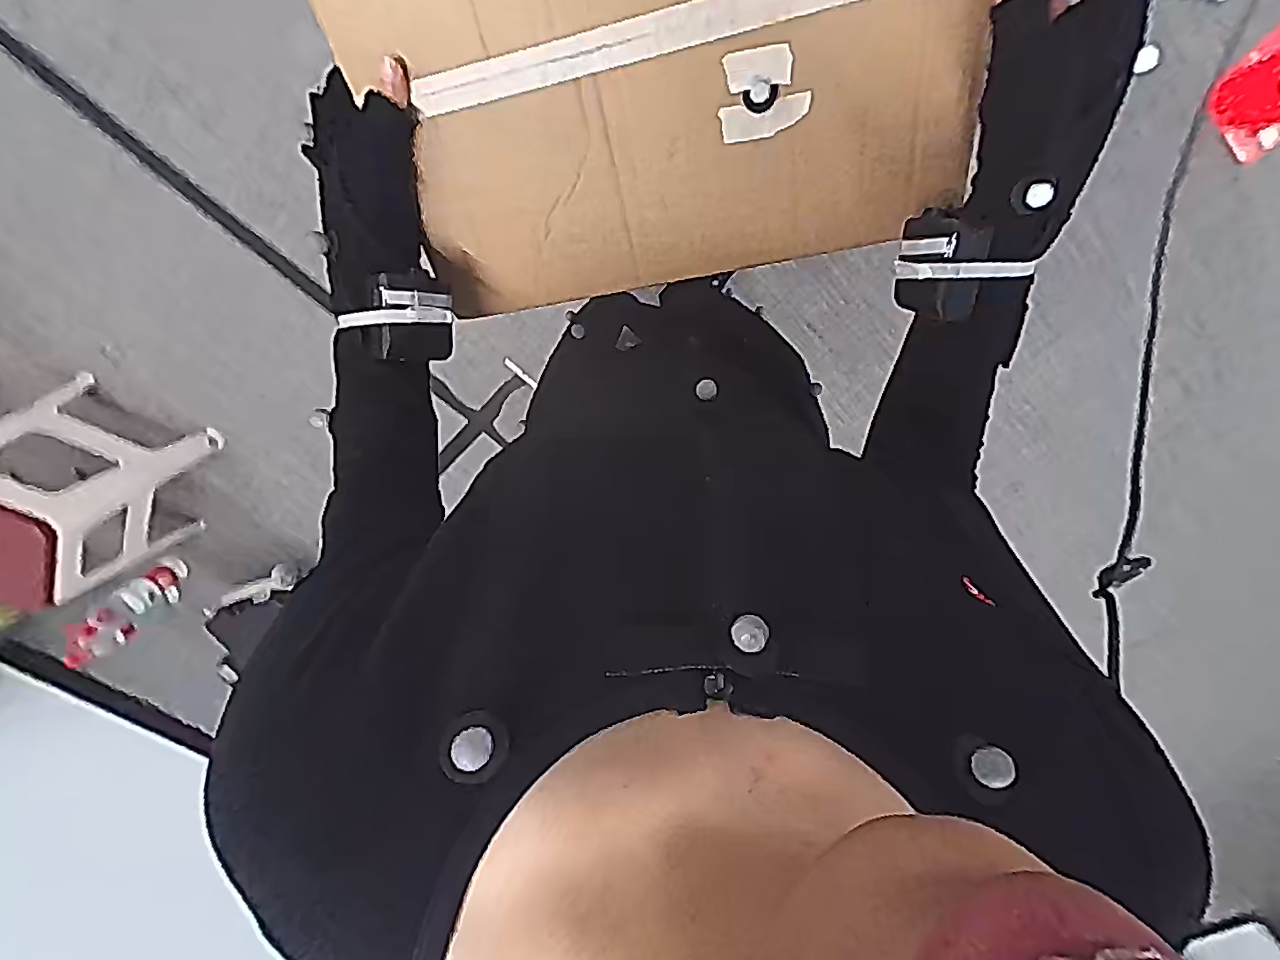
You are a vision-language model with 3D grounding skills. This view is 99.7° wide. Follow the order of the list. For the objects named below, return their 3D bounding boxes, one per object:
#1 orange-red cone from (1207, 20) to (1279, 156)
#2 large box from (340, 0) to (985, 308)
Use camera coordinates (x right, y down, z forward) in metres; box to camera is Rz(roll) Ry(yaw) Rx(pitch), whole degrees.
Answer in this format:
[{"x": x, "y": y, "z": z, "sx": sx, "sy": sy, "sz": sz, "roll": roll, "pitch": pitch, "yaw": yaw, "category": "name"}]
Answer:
[{"x": 1.297, "y": -0.732, "z": 0.963, "sx": 0.198, "sy": 0.360, "sz": 0.199, "roll": 38, "pitch": 112, "yaw": -19, "category": "orange-red cone"}, {"x": 0.017, "y": -0.385, "z": 0.460, "sx": 0.408, "sy": 0.320, "sz": 0.320, "roll": -8, "pitch": 129, "yaw": 9, "category": "large box"}]
